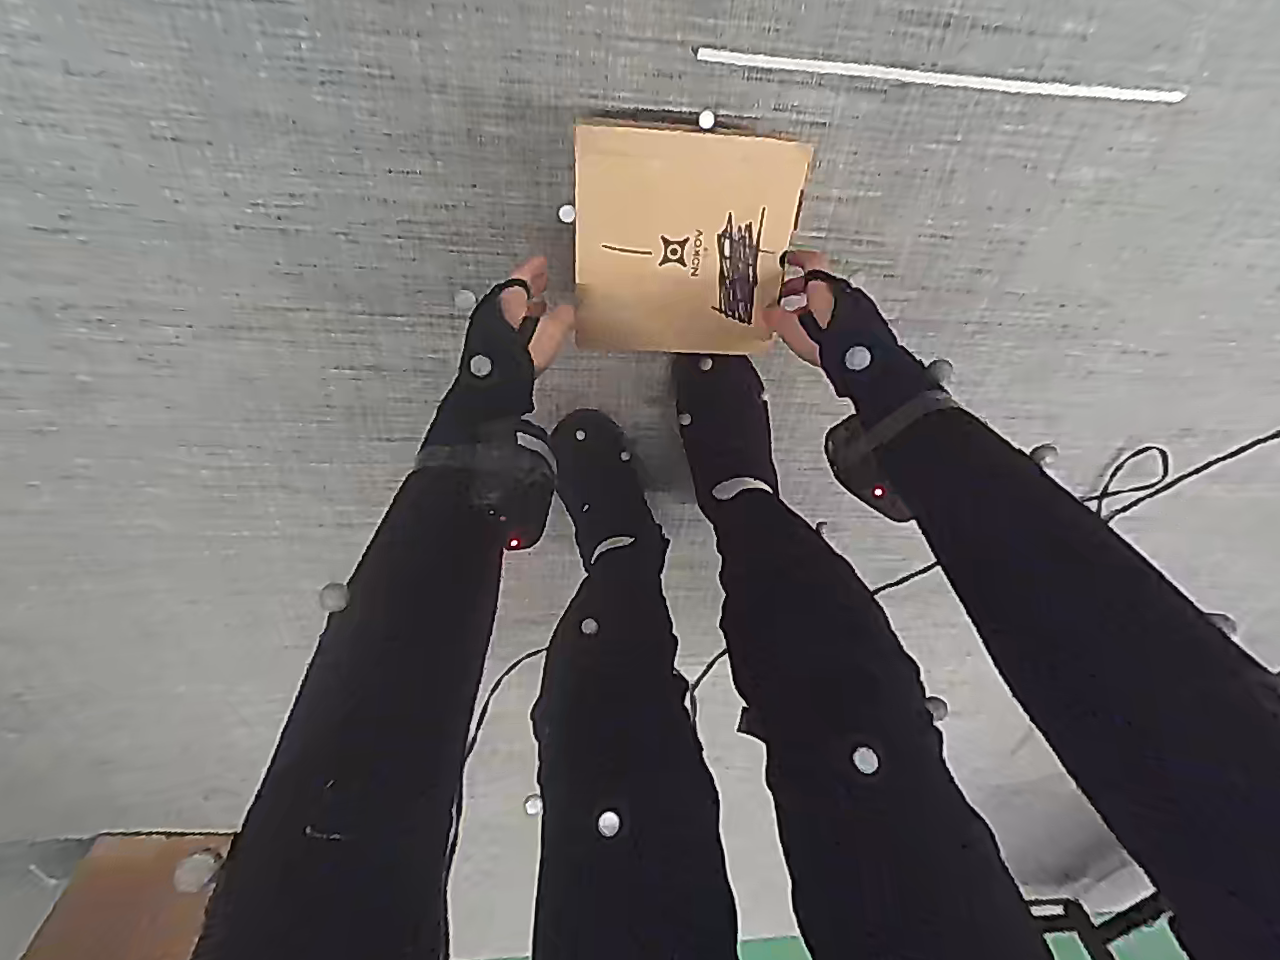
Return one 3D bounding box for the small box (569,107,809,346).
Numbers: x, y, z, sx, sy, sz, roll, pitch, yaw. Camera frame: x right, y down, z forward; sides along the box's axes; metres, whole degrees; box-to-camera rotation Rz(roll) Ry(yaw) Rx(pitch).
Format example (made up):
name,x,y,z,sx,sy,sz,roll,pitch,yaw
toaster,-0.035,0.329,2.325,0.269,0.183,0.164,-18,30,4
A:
name,x,y,z,sx,sy,sz,roll,pitch,yaw
small box,0.026,-0.233,0.492,0.179,0.176,0.168,1,124,-5
